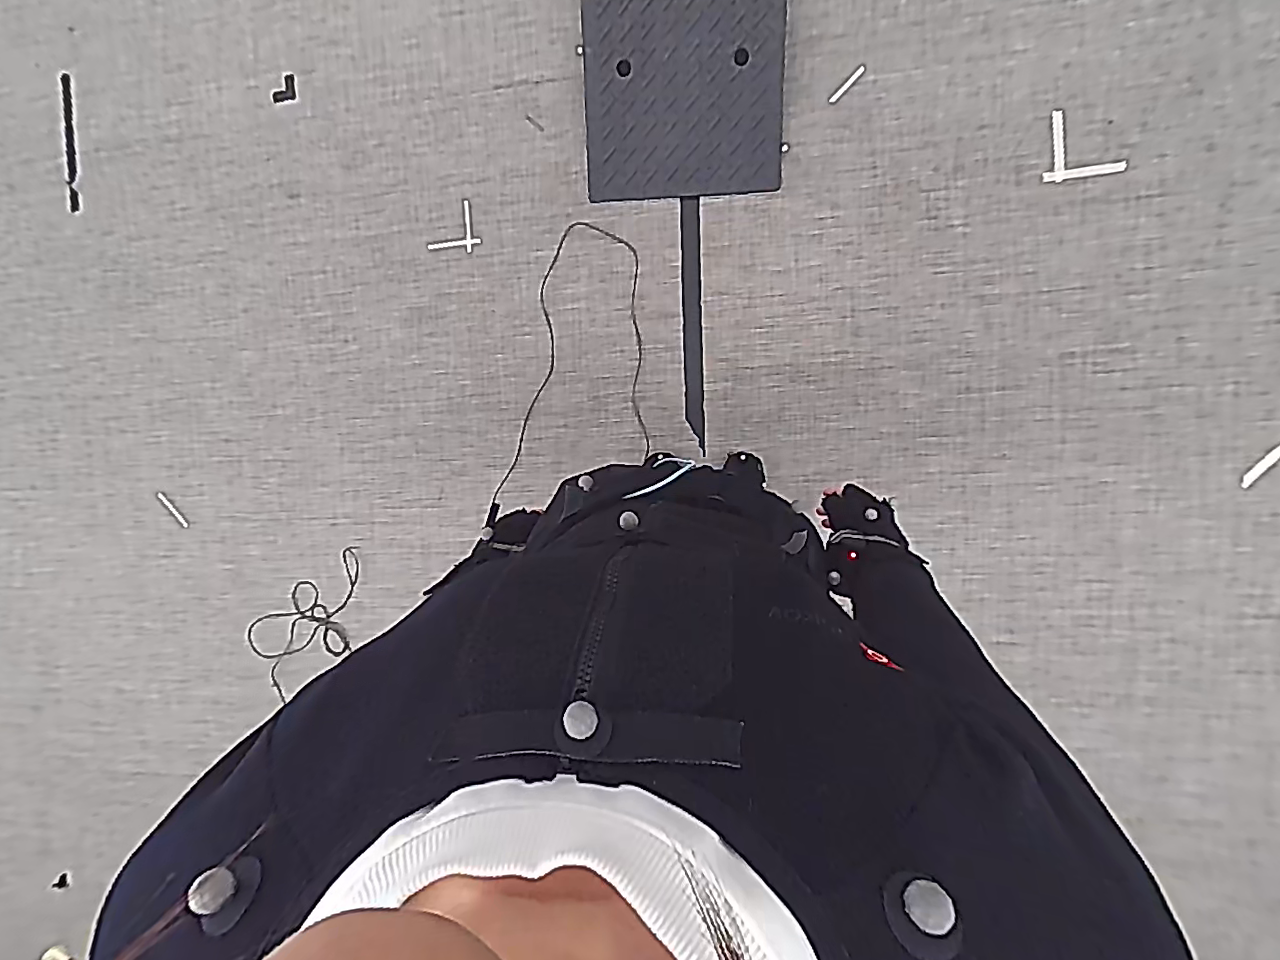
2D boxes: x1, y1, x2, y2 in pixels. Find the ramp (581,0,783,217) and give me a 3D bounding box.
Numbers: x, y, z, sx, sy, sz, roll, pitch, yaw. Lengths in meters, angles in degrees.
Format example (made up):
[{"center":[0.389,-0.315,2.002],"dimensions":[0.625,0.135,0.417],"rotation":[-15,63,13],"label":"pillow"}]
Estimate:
[{"center":[0.097,-1.194,1.304],"dimensions":[0.509,0.206,0.991],"rotation":[-3,93,8],"label":"ramp"}]
